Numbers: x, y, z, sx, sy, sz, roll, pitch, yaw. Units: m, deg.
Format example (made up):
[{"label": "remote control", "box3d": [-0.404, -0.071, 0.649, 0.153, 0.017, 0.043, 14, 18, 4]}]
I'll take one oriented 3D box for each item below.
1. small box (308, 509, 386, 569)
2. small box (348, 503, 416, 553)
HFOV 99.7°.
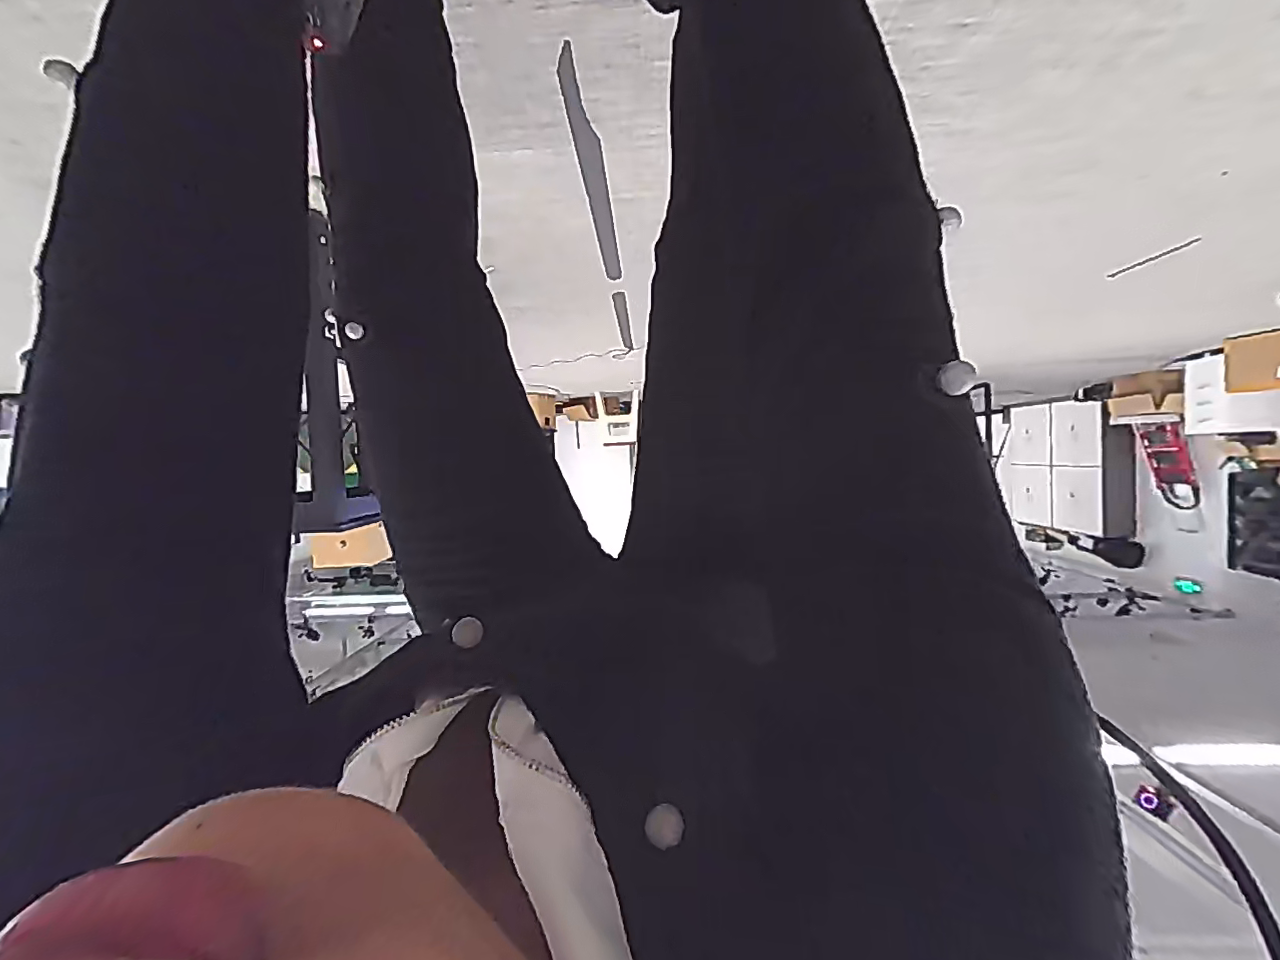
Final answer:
[{"label": "small box", "box3d": [-0.943, 0.185, 1.744, 0.179, 0.176, 0.168, -3, -178, -3]}, {"label": "small box", "box3d": [-0.952, 0.174, 1.993, 0.179, 0.176, 0.168, -1, -179, 2]}]
